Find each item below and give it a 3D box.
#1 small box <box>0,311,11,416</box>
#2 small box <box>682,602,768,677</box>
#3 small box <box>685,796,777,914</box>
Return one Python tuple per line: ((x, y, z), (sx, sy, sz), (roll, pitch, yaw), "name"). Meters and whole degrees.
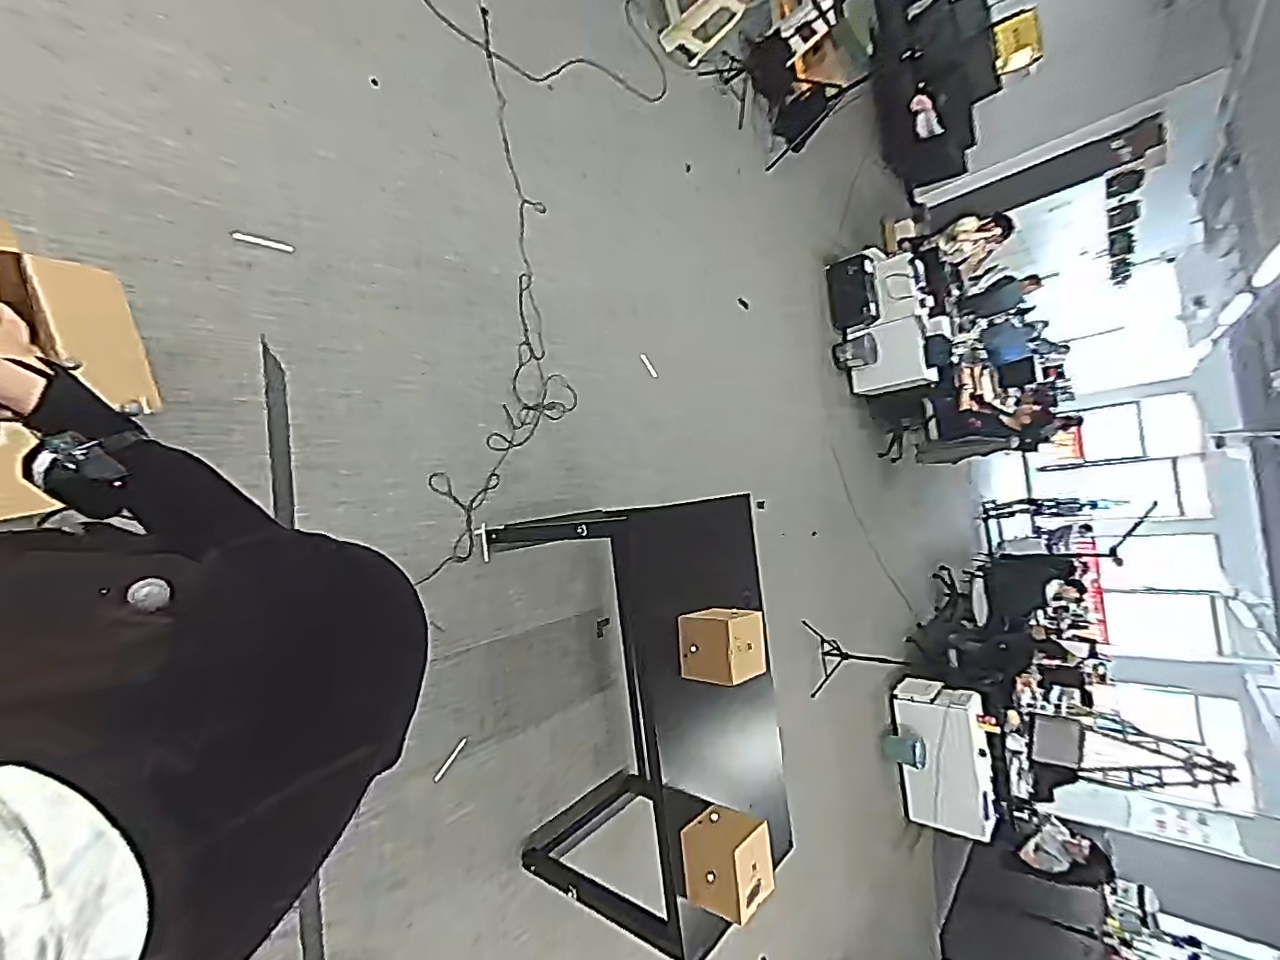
((-0.692, -0.137, 0.468), (0.179, 0.176, 0.168), (-9, 79, -51), "small box")
((0.236, 0.434, 1.503), (0.179, 0.176, 0.168), (3, 82, -47), "small box")
((0.237, 0.972, 1.421), (0.168, 0.176, 0.179), (-2, 85, -48), "small box")
